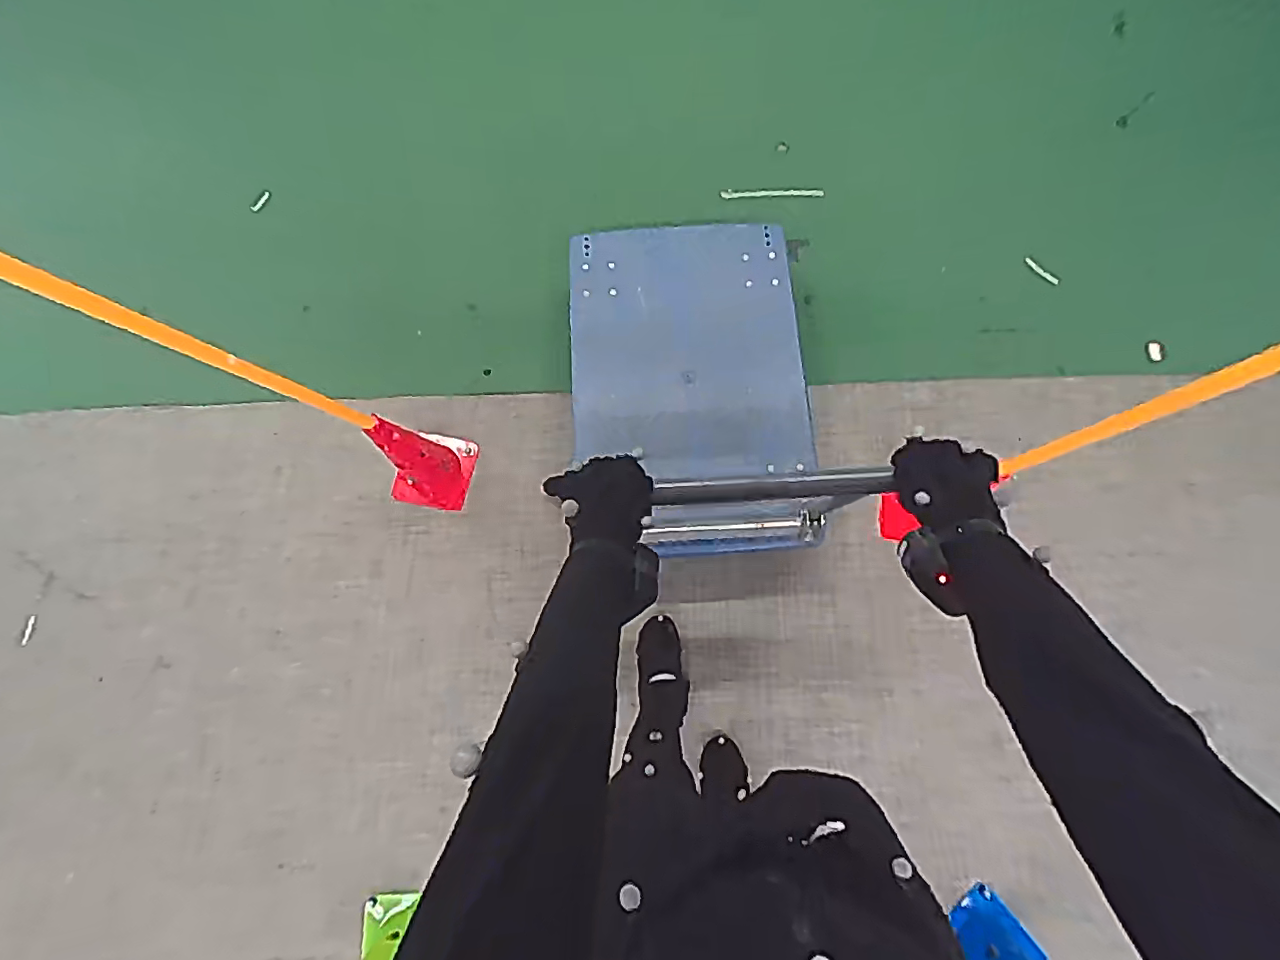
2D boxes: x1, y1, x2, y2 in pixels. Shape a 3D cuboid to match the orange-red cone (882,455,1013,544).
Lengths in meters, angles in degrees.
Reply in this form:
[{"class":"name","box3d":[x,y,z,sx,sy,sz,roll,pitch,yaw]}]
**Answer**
[{"class":"orange-red cone","box3d":[0.730,0.015,1.244,0.198,0.360,0.199,9,76,4]}]
